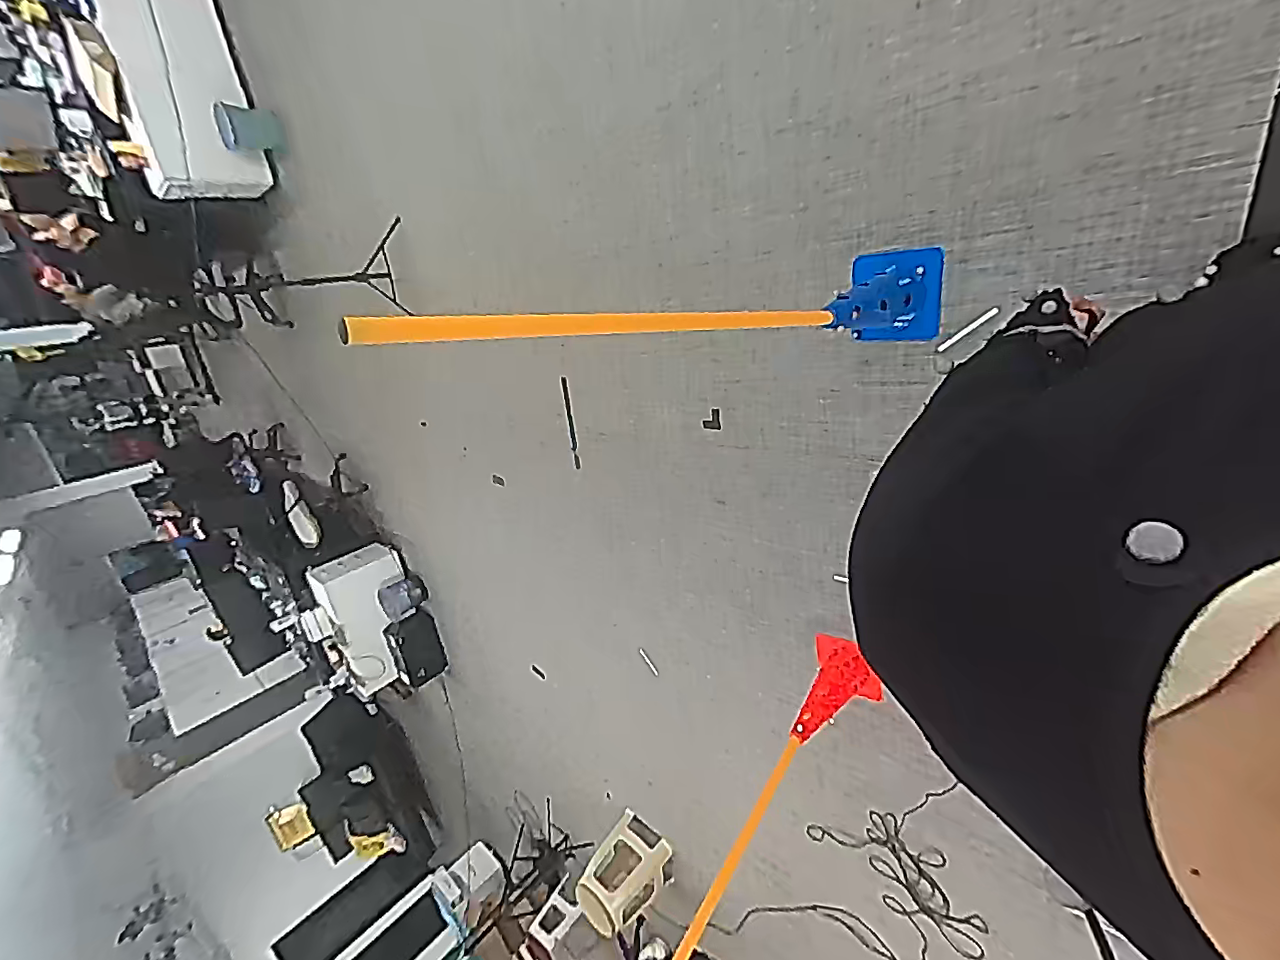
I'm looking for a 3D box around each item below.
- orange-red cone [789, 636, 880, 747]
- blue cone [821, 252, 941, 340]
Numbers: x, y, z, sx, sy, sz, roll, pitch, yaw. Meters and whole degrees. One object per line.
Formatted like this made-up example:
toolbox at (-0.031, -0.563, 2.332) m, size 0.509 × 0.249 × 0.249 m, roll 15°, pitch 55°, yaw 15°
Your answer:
orange-red cone at (0.541, 0.651, 1.590) m, size 0.199 × 0.360 × 0.198 m, roll 4°, pitch 113°, yaw 43°
blue cone at (0.482, -0.364, 1.145) m, size 0.193 × 0.380 × 0.192 m, roll 14°, pitch 120°, yaw 41°
